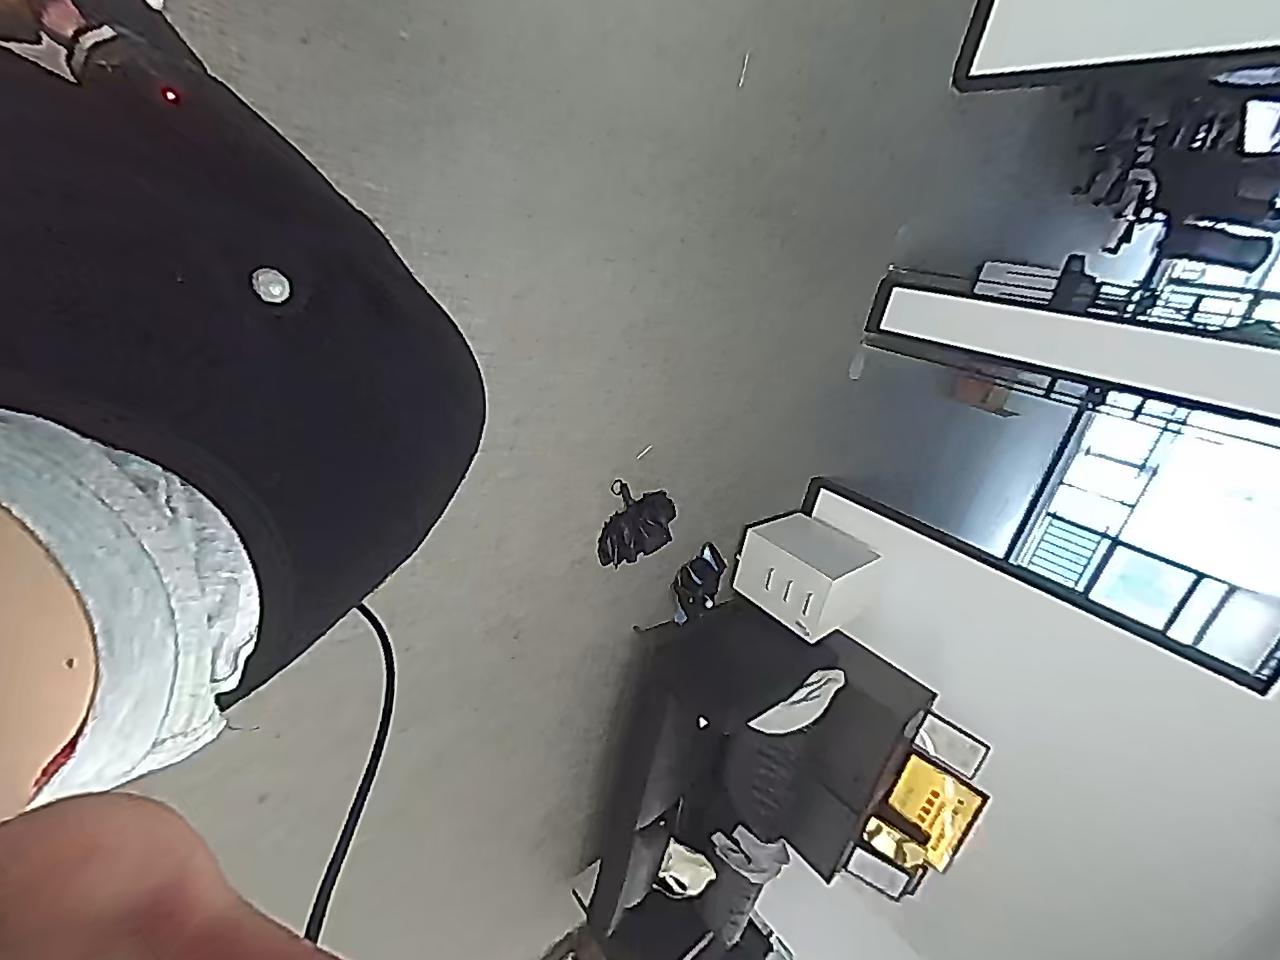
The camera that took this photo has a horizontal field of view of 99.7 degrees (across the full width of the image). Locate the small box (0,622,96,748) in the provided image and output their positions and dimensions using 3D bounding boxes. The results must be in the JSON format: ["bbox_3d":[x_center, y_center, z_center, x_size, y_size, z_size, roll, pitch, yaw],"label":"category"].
[{"bbox_3d":[-1.359,0.444,1.187,0.179,0.176,0.168,-48,137,-11],"label":"small box"}]
